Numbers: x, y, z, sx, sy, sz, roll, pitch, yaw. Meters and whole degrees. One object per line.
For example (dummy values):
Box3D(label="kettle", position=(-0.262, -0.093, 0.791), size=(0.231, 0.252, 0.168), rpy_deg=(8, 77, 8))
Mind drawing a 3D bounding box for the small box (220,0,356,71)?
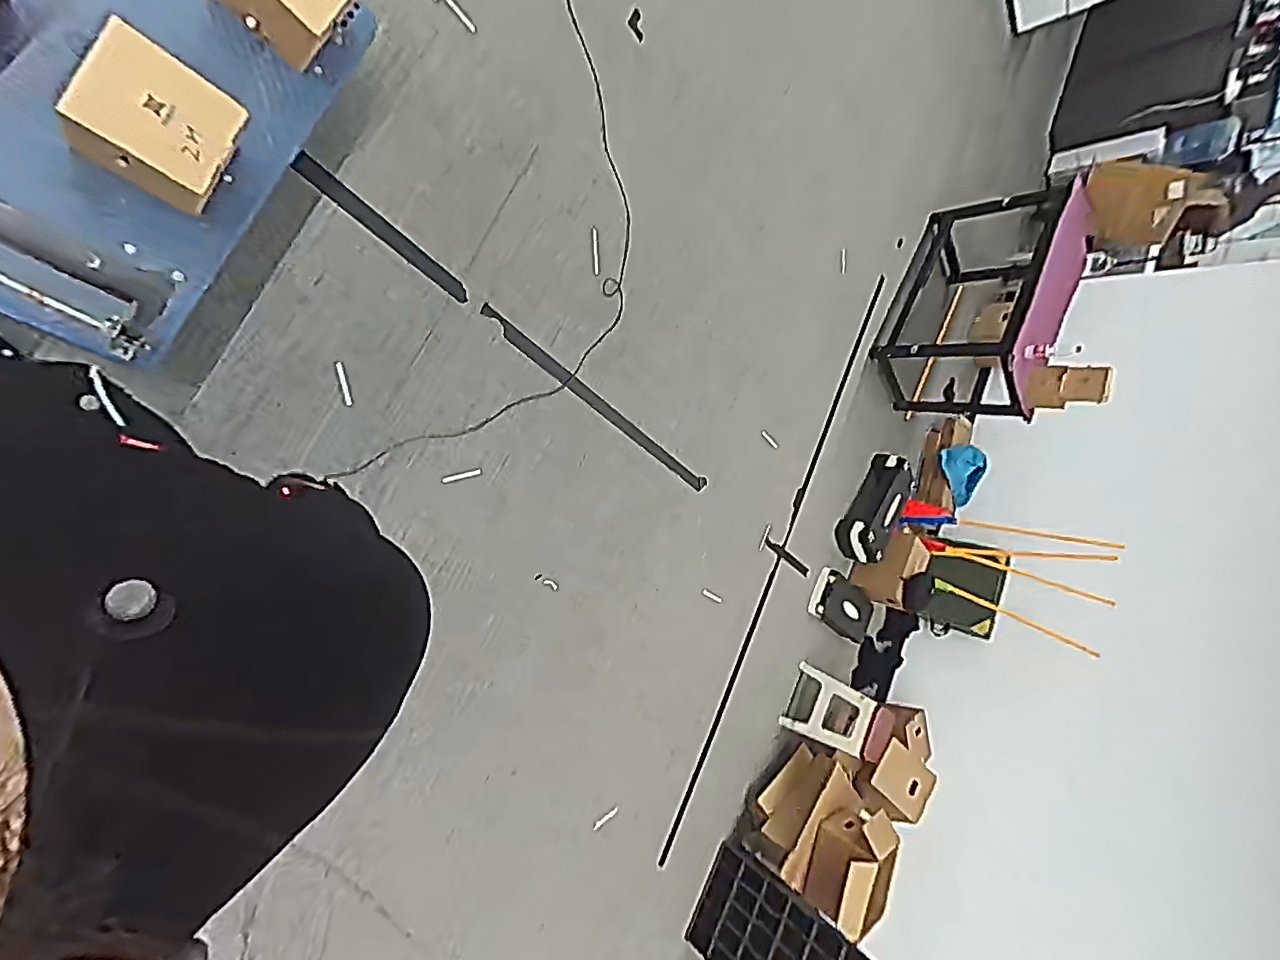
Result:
Box3D(label="small box", position=(-0.620, -0.888, 0.958), size=(0.168, 0.176, 0.179), rpy_deg=(36, 75, -41))

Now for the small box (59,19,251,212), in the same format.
Box3D(label="small box", position=(-0.776, -0.569, 0.876), size=(0.179, 0.176, 0.168), rpy_deg=(29, 78, -42))
